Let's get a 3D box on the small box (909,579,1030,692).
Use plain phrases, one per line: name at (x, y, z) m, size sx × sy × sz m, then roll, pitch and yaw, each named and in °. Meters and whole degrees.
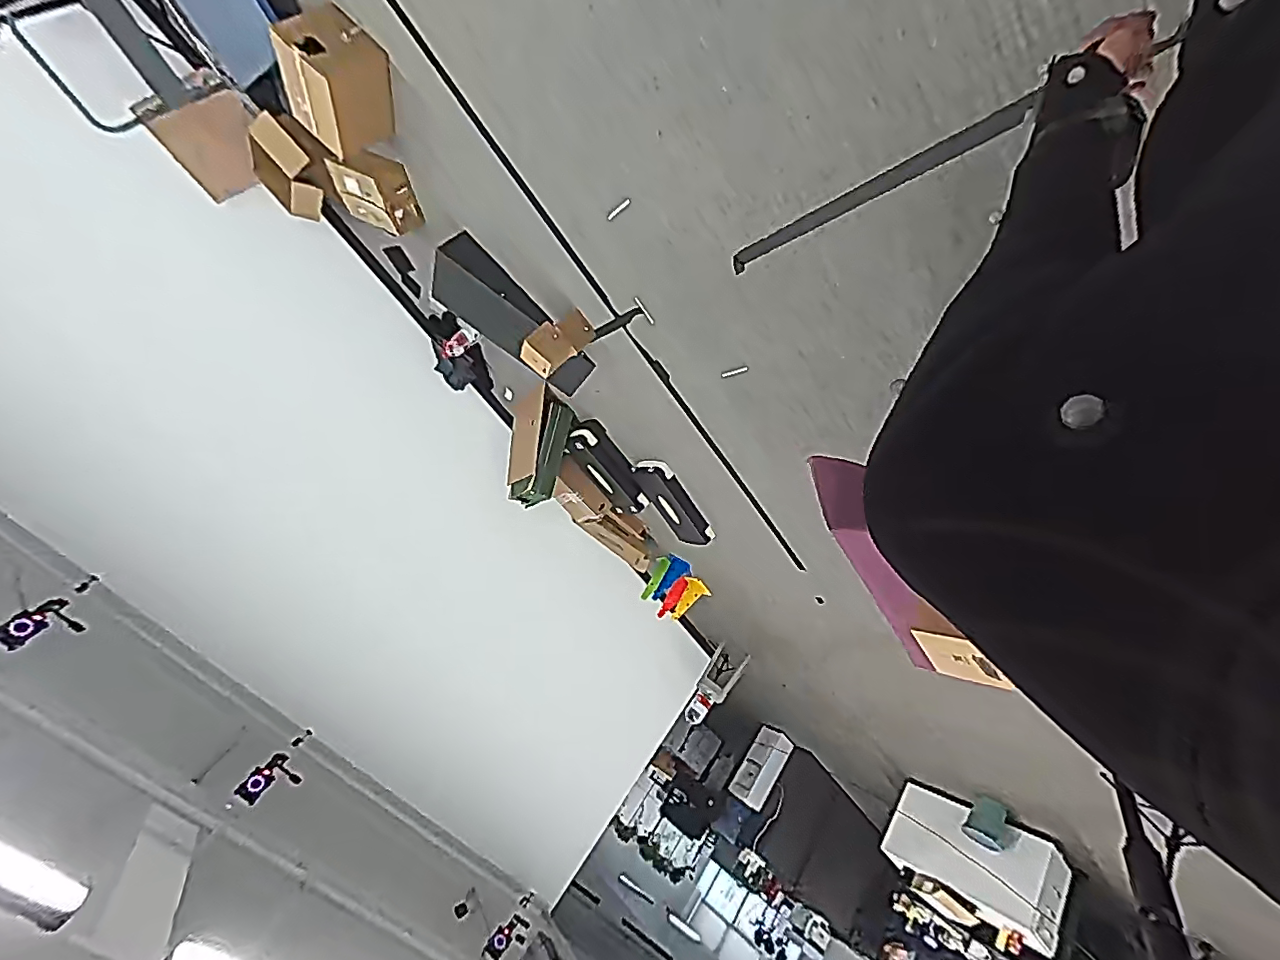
small box at (0.762, 0.346, 1.239) m, size 0.168 × 0.176 × 0.179 m, roll 52°, pitch 153°, yaw -20°
